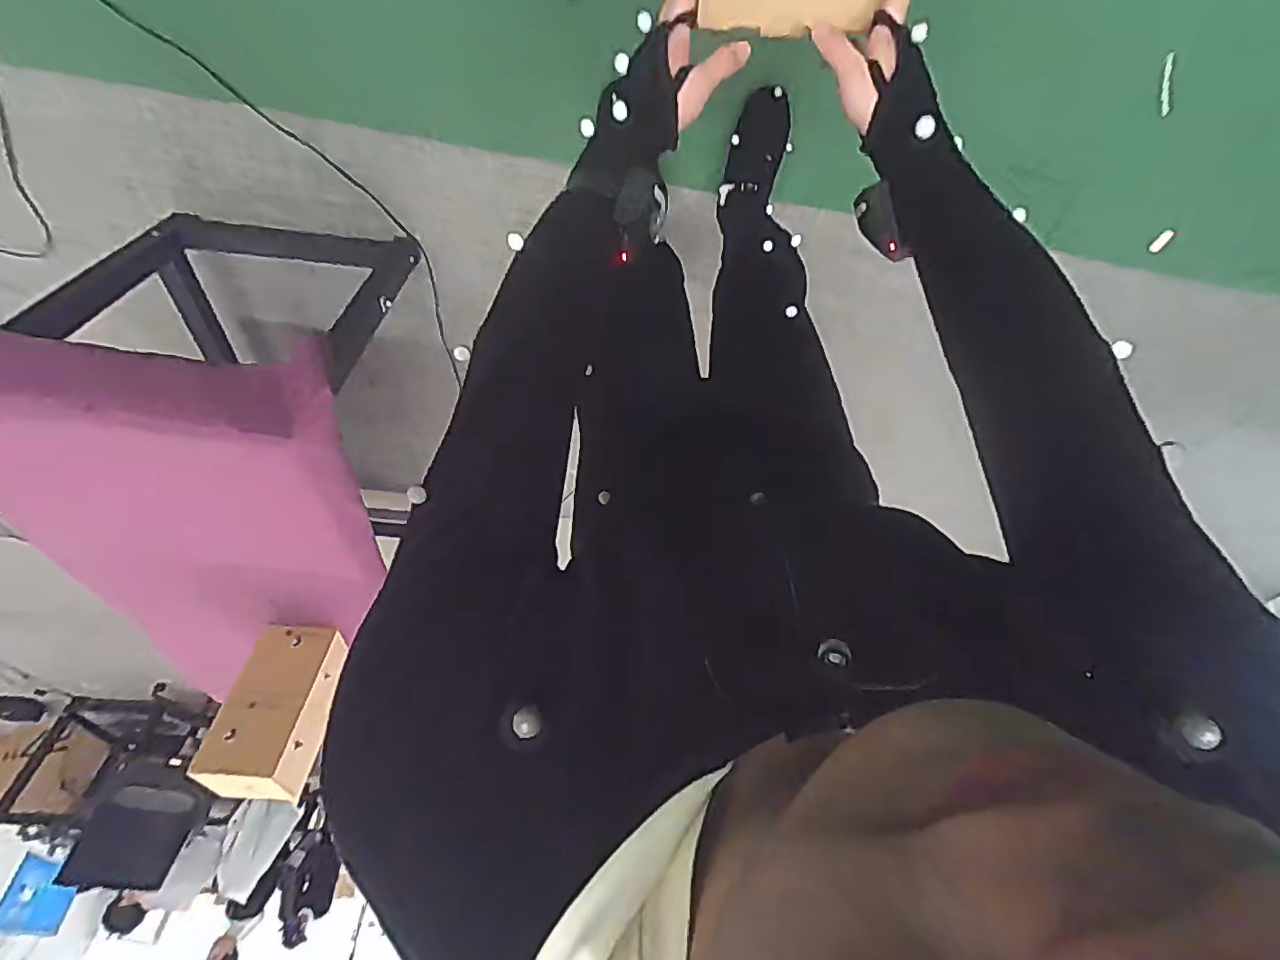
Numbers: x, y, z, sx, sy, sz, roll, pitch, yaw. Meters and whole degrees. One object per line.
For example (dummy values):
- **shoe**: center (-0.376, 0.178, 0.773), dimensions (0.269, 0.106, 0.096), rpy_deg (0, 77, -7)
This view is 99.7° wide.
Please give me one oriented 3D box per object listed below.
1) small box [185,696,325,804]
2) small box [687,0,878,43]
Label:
- **small box**: center (-0.823, 0.587, 1.179), dimensions (0.168, 0.176, 0.179), rpy_deg (7, 136, -5)
- **small box**: center (0.131, -0.526, 0.487), dimensions (0.168, 0.176, 0.179), rpy_deg (0, 139, -2)
